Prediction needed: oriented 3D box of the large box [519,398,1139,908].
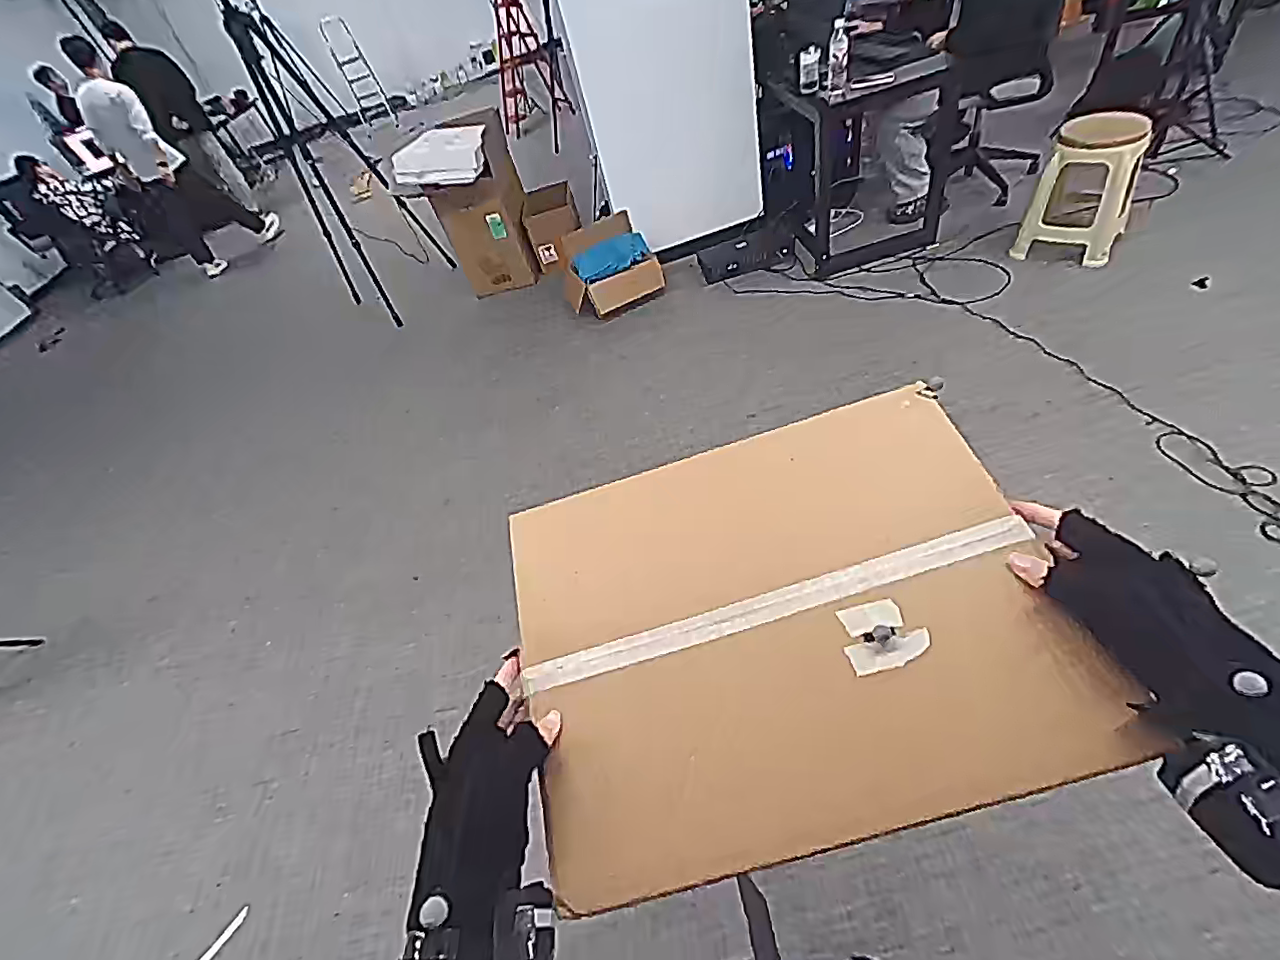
[{"bbox_3d":[0.134,0.182,0.564,0.408,0.320,0.320,-18,58,3],"label":"large box"}]
